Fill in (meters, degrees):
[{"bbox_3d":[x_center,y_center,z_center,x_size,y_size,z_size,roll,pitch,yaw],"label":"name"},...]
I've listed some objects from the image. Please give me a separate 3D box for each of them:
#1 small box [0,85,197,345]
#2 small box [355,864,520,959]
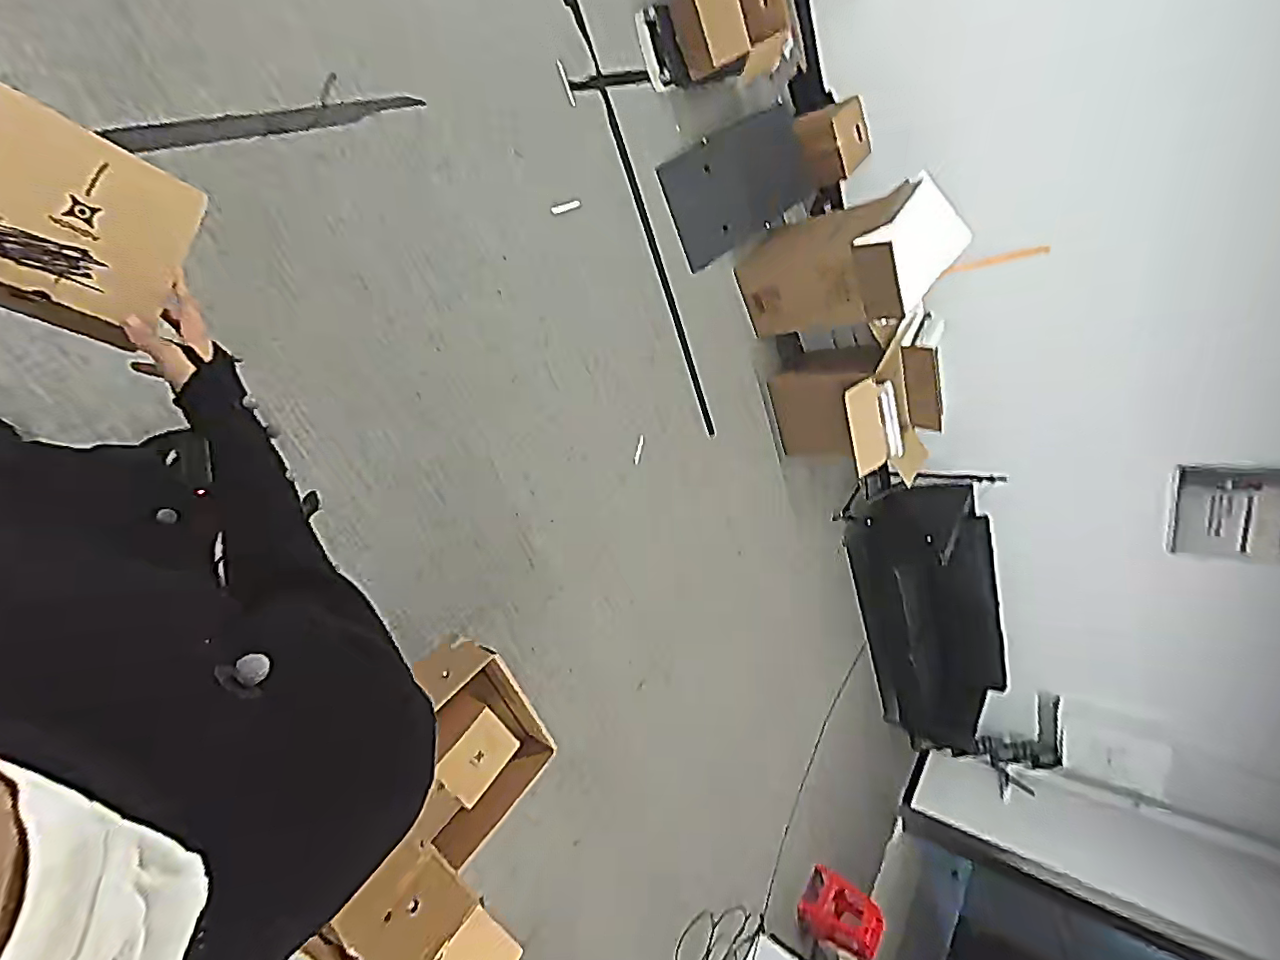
[{"bbox_3d":[-0.608,-0.258,0.570,0.168,0.176,0.179,22,77,-46],"label":"small box"},{"bbox_3d":[-0.347,0.815,0.931,0.168,0.176,0.179,-44,122,-36],"label":"small box"}]
